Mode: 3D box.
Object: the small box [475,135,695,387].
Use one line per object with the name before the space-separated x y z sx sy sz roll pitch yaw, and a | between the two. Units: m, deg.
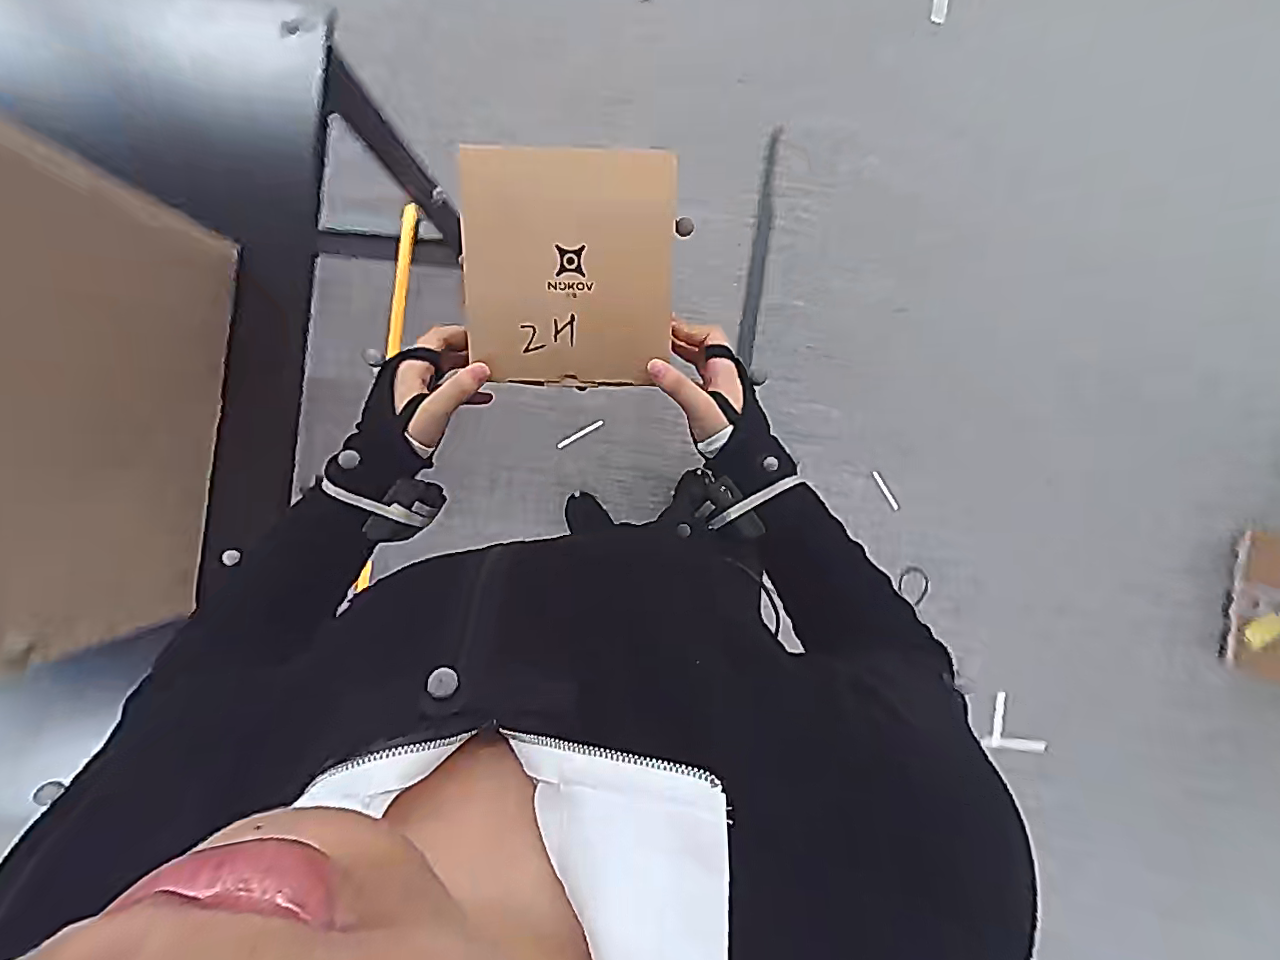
small box | -0.047 -0.184 0.495 0.168 0.176 0.179 3 105 -1
